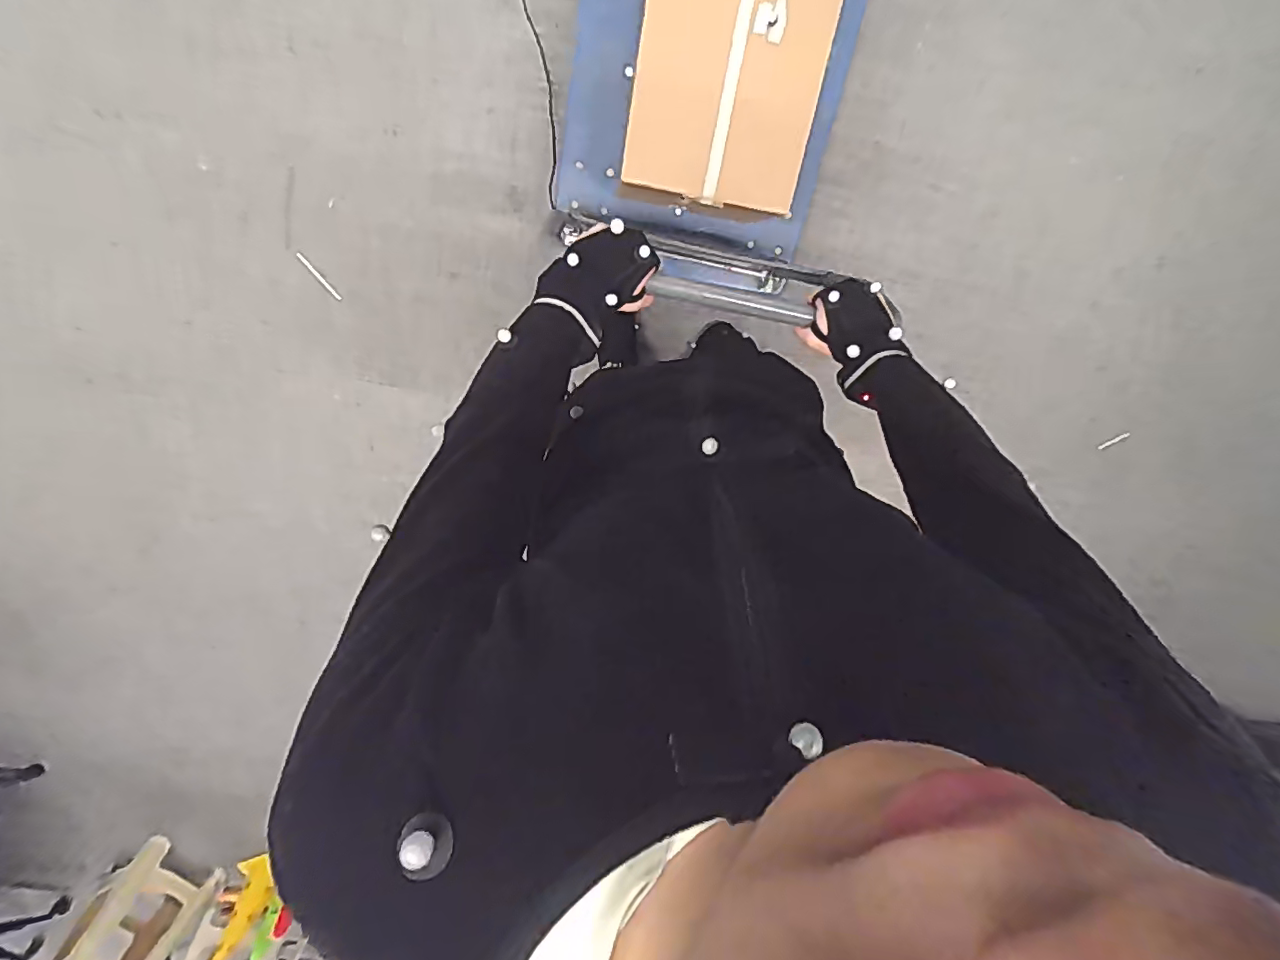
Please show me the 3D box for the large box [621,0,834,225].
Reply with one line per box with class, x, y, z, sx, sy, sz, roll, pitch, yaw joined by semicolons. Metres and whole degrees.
large box;0.139;-0.738;1.044;0.320;0.320;0.408;7;112;-7
